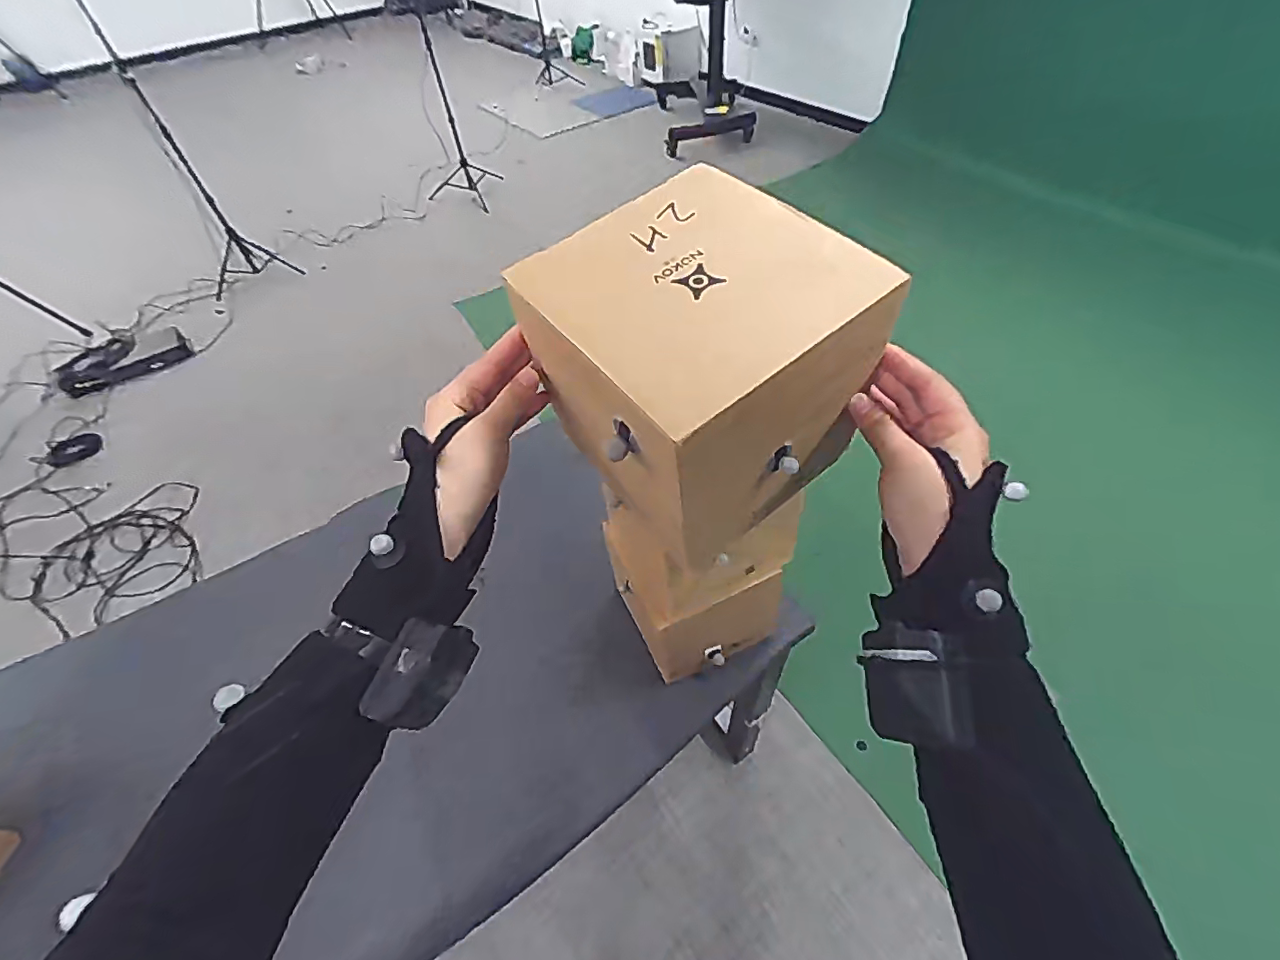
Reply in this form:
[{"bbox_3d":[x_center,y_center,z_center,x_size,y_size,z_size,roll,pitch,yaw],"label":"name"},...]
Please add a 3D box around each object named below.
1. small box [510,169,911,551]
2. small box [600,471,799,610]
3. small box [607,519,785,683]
[{"bbox_3d":[0.043,-0.072,0.379,0.168,0.176,0.179,-35,60,-14],"label":"small box"},{"bbox_3d":[0.064,0.021,0.609,0.168,0.176,0.179,-25,48,-13],"label":"small box"},{"bbox_3d":[0.070,0.136,0.725,0.168,0.176,0.179,-23,50,-11],"label":"small box"}]
